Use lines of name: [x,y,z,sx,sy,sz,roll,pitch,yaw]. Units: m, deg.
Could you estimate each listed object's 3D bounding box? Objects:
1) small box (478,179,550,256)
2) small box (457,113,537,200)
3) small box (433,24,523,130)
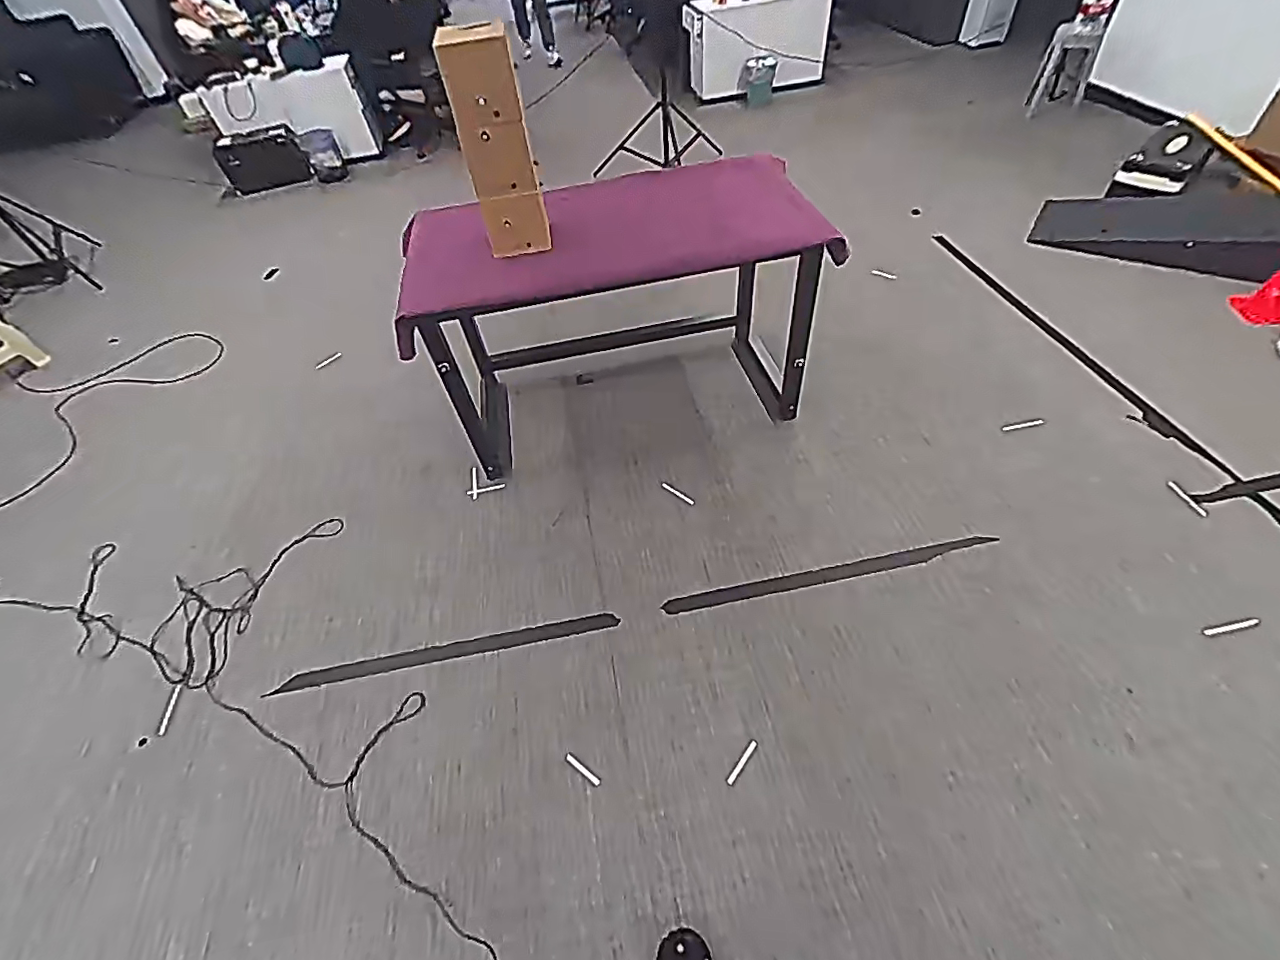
small box: [-0.361,-0.765,1.565,0.168,0.176,0.179,-11,49,-2]
small box: [-0.377,-0.875,1.444,0.168,0.176,0.179,-11,49,-3]
small box: [-0.387,-0.980,1.318,0.168,0.176,0.179,-11,50,-2]
